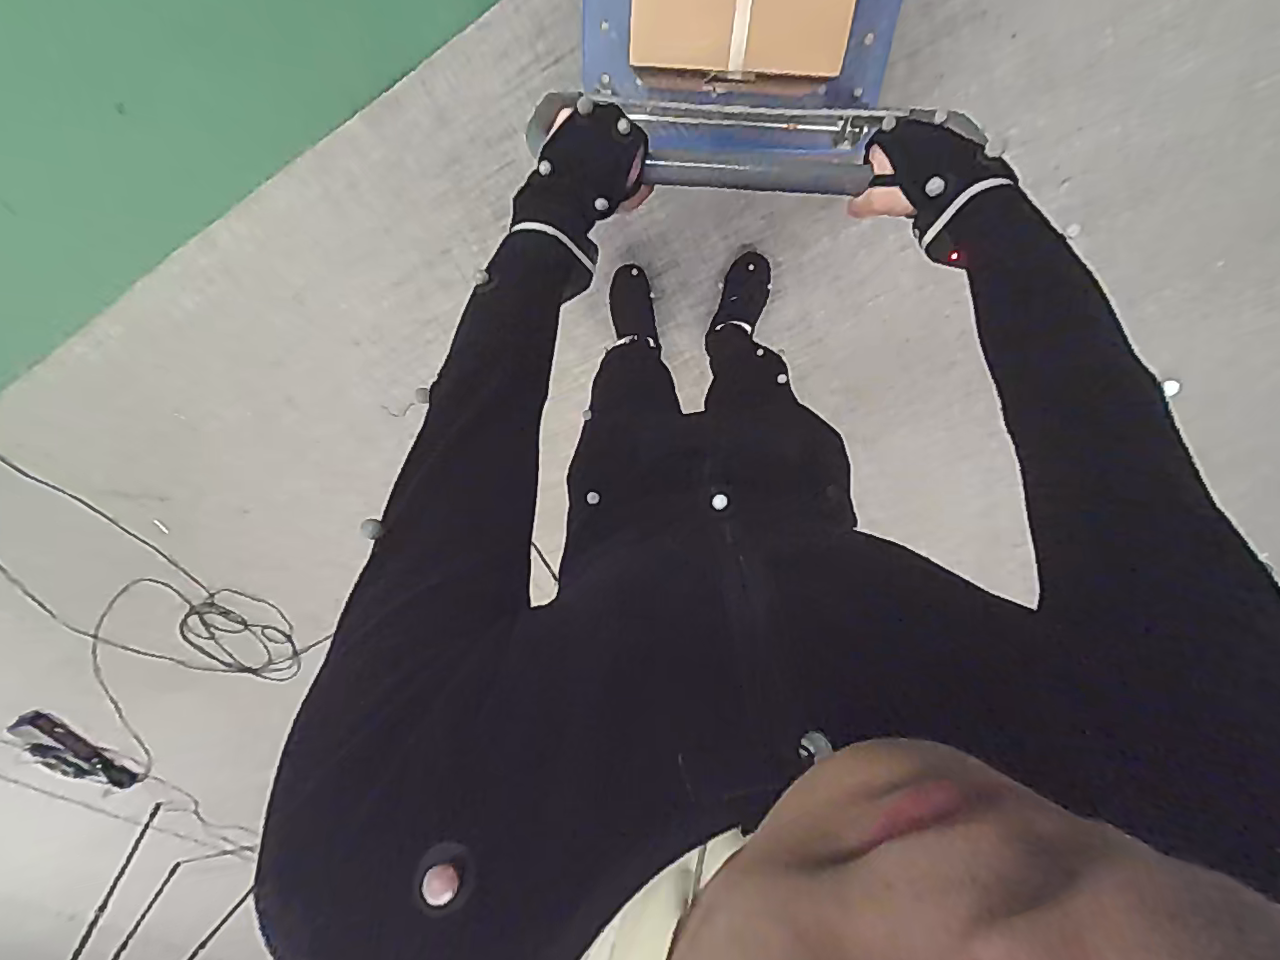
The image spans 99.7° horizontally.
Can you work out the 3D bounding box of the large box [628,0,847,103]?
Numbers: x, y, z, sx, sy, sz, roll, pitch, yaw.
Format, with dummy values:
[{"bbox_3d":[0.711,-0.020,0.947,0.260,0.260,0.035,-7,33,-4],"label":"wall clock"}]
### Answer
[{"bbox_3d":[0.158,-0.851,0.849,0.320,0.320,0.408,5,121,3],"label":"large box"}]
